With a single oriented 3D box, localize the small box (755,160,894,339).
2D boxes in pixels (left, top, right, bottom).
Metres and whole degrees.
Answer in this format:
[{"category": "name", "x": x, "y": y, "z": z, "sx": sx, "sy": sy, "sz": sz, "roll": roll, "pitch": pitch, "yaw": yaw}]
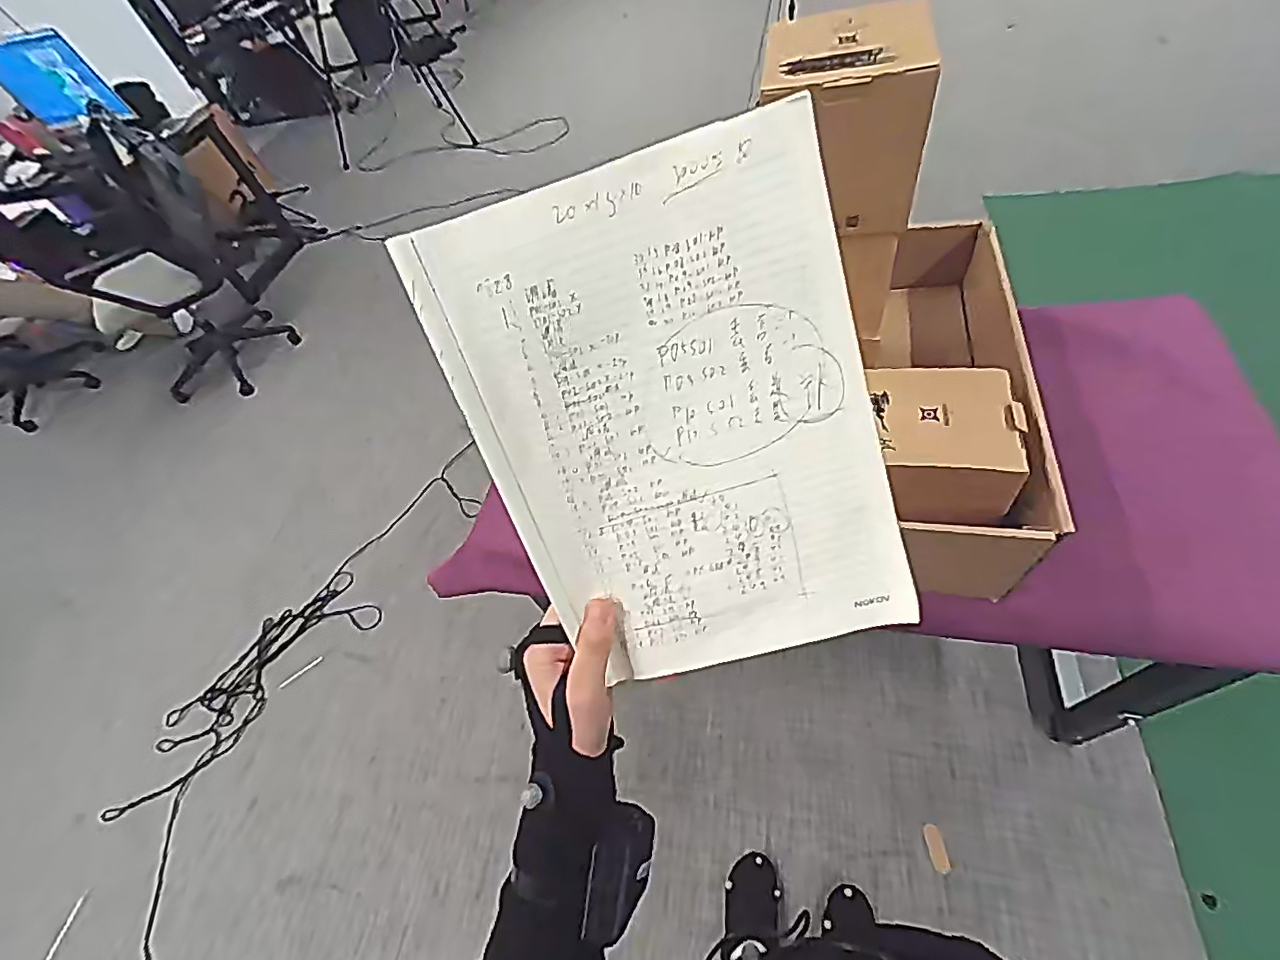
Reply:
[{"category": "small box", "x": 0.260, "y": -0.317, "z": 0.769, "sx": 0.168, "sy": 0.176, "sz": 0.179, "roll": 5, "pitch": 57, "yaw": 17}]
